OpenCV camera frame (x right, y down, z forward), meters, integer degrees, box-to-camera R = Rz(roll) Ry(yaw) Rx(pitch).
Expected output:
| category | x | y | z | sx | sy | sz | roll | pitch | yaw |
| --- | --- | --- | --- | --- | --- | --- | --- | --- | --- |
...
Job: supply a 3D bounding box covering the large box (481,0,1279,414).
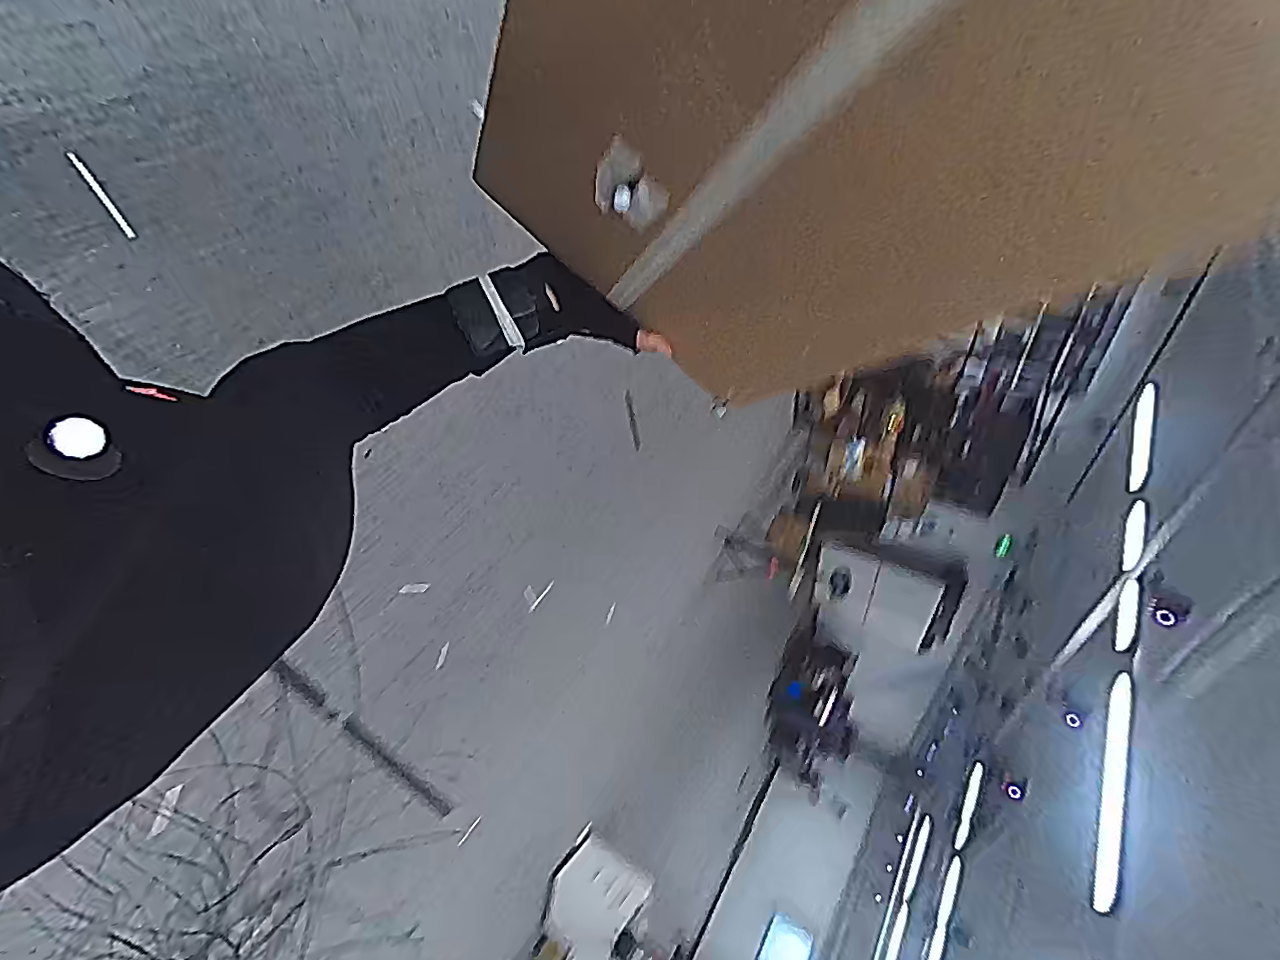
| category | x | y | z | sx | sy | sz | roll | pitch | yaw |
| --- | --- | --- | --- | --- | --- | --- | --- | --- | --- |
| large box | 0.126 | -0.302 | 0.381 | 0.320 | 0.408 | 0.320 | 38 | 70 | -14 |
